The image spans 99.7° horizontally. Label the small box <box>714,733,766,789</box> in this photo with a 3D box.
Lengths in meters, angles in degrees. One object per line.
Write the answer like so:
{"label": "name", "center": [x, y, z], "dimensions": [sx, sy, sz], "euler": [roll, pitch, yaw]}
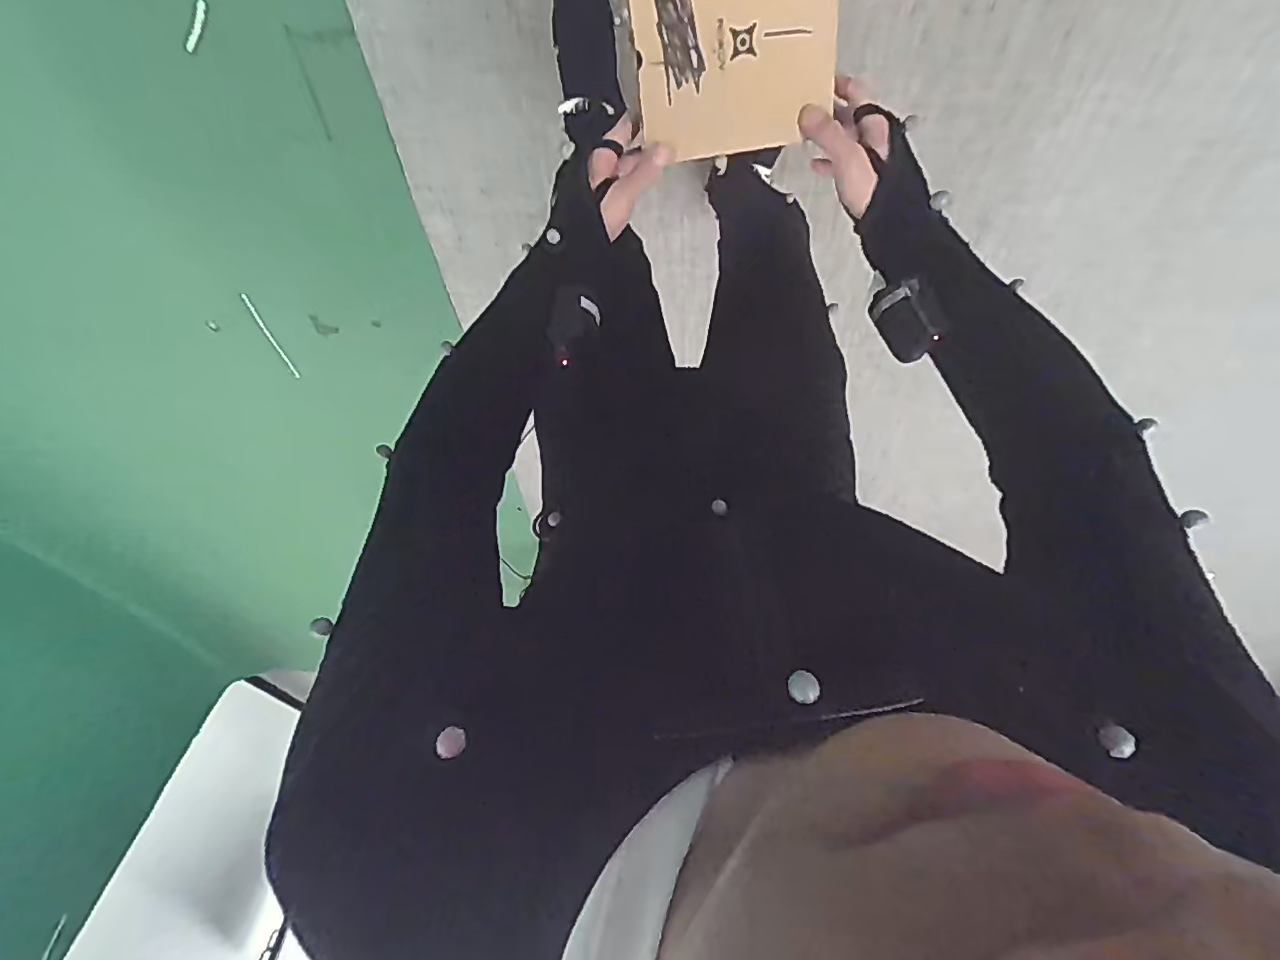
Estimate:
{"label": "small box", "center": [0.373, 1.062, 2.027], "dimensions": [0.179, 0.176, 0.168], "euler": [4, 141, 8]}

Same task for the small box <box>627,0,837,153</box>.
{"label": "small box", "center": [0.086, -0.430, 0.533], "dimensions": [0.179, 0.176, 0.168], "euler": [-4, 124, 7]}

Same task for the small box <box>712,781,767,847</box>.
{"label": "small box", "center": [0.352, 1.185, 1.923], "dimensions": [0.179, 0.176, 0.168], "euler": [3, 140, 7]}
